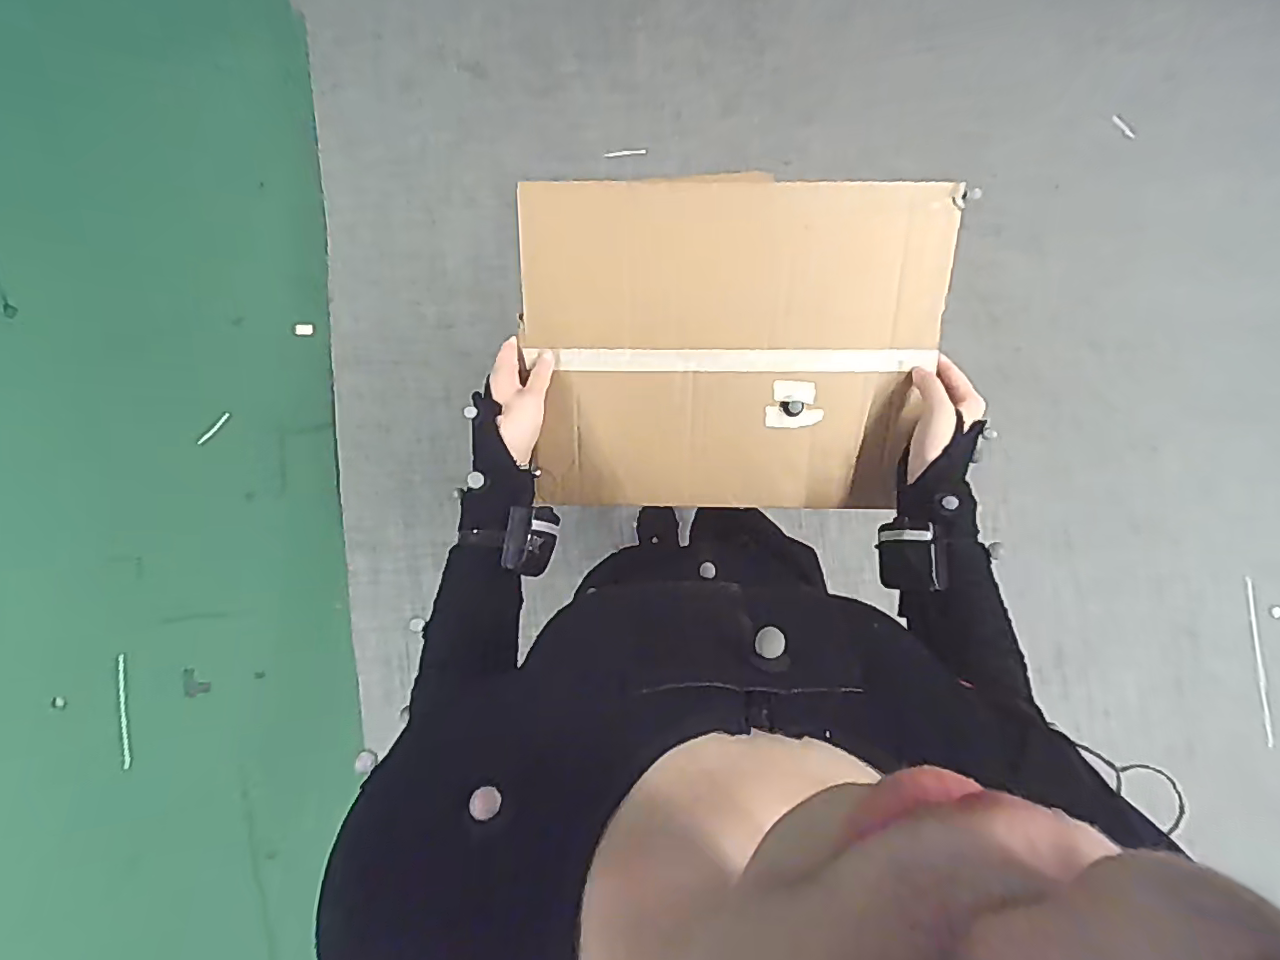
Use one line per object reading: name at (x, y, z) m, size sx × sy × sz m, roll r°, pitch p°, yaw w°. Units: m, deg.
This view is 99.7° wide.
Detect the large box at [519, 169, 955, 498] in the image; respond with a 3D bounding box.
large box at (0.089, -0.174, 0.674) m, size 0.408 × 0.320 × 0.320 m, roll 0°, pitch 108°, yaw 0°
